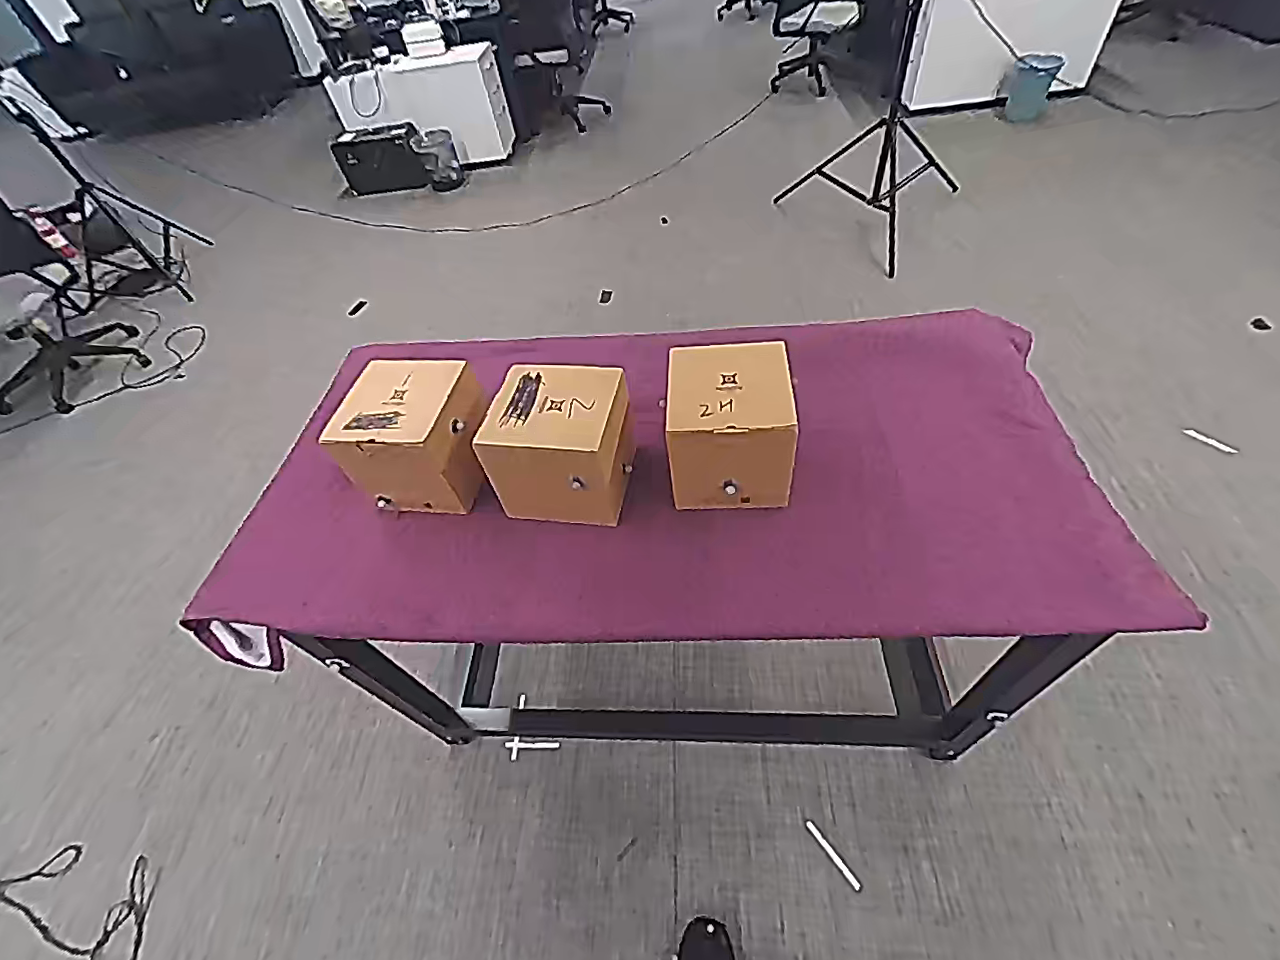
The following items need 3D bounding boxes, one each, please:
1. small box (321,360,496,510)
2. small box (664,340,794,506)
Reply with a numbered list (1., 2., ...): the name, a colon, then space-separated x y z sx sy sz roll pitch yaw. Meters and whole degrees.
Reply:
1. small box: -0.347 -0.069 0.855 0.168 0.176 0.179 2 52 10
2. small box: 0.127 -0.081 0.792 0.168 0.176 0.179 -2 50 8
